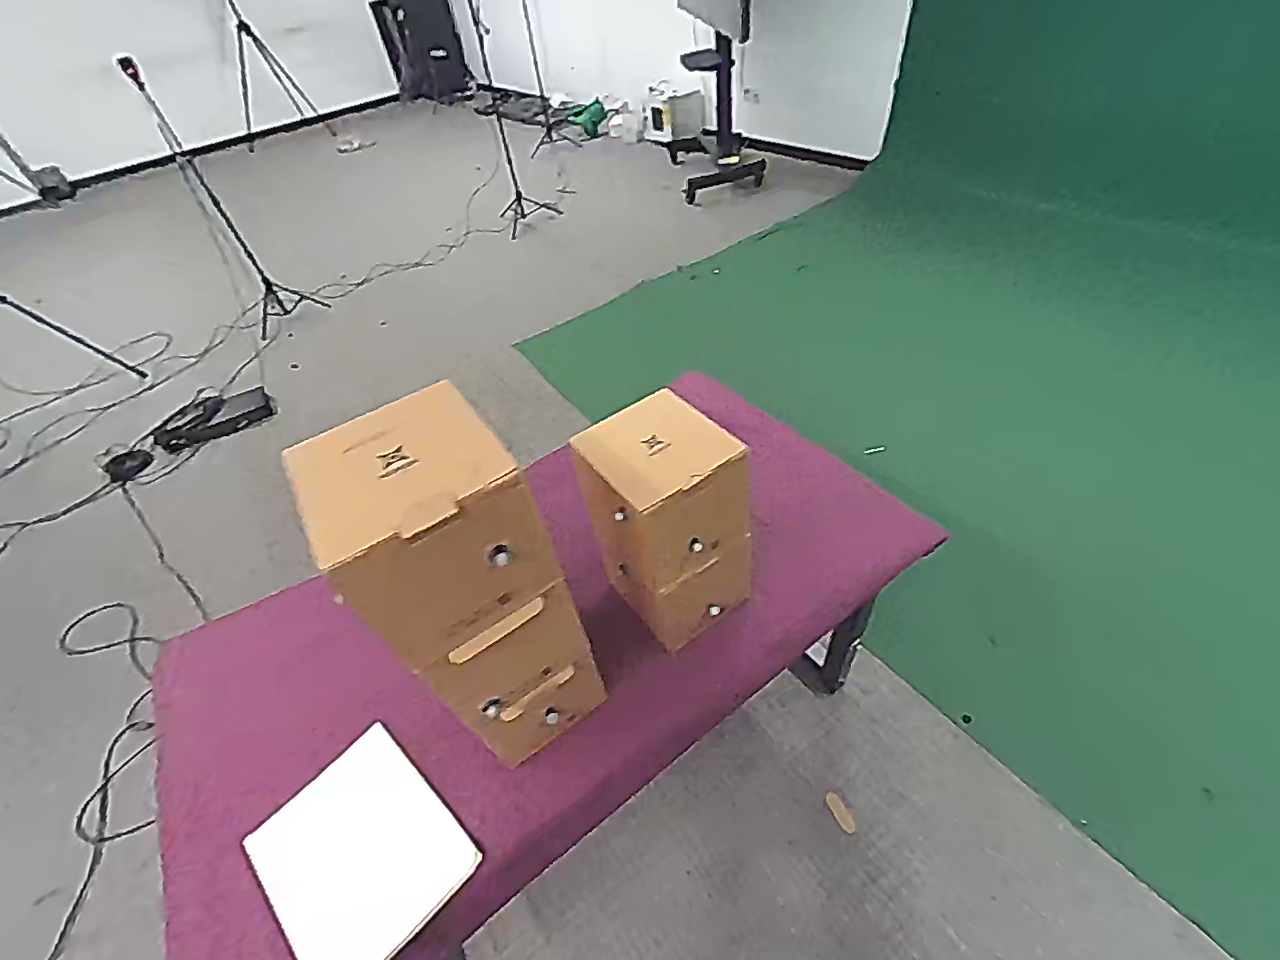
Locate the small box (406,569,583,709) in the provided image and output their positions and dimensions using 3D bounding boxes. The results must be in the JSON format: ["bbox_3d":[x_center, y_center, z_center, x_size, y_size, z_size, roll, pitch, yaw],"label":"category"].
[{"bbox_3d":[-0.188,0.147,0.653,0.168,0.176,0.179,-31,49,-19],"label":"small box"}]

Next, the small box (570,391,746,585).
[{"bbox_3d":[0.027,0.011,0.750,0.168,0.176,0.179,-30,49,-19],"label":"small box"}]

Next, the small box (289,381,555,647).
[{"bbox_3d":[-0.204,0.038,0.533,0.168,0.176,0.179,-29,49,-19],"label":"small box"}]

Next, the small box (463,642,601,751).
[{"bbox_3d":[-0.173,0.258,0.775,0.168,0.176,0.179,-30,50,-20],"label":"small box"}]
